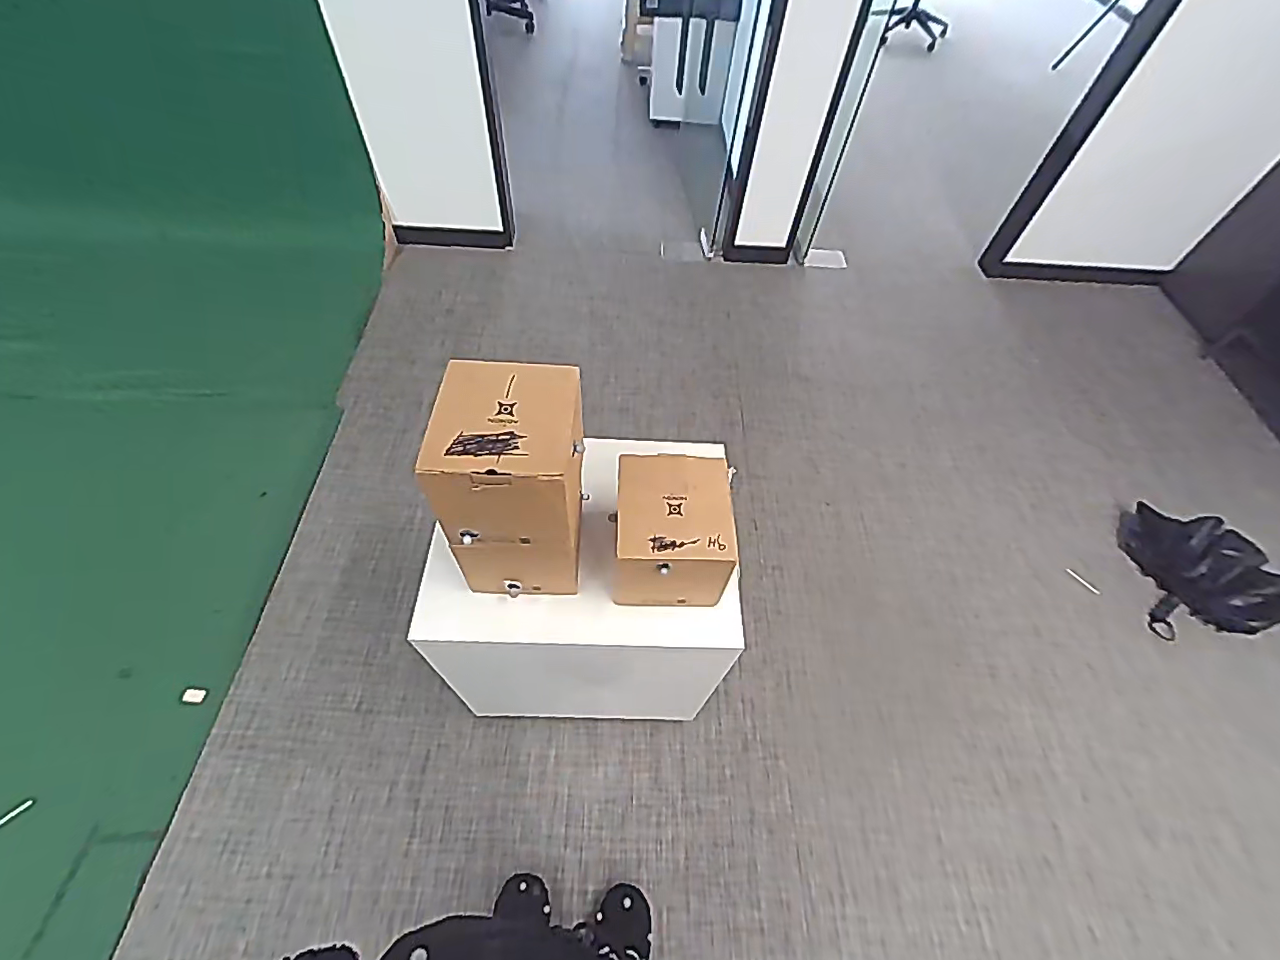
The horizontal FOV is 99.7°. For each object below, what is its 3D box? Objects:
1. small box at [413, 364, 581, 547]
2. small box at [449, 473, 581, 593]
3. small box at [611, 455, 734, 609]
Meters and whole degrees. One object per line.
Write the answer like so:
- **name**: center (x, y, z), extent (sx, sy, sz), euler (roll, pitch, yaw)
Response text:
- **small box**: center (-0.168, -0.026, 0.702), extent (0.168, 0.176, 0.179), euler (3, 54, -2)
- **small box**: center (-0.177, 0.058, 0.823), extent (0.168, 0.176, 0.179), euler (0, 57, -4)
- **small box**: center (0.041, 0.083, 0.838), extent (0.168, 0.176, 0.179), euler (2, 55, -3)
